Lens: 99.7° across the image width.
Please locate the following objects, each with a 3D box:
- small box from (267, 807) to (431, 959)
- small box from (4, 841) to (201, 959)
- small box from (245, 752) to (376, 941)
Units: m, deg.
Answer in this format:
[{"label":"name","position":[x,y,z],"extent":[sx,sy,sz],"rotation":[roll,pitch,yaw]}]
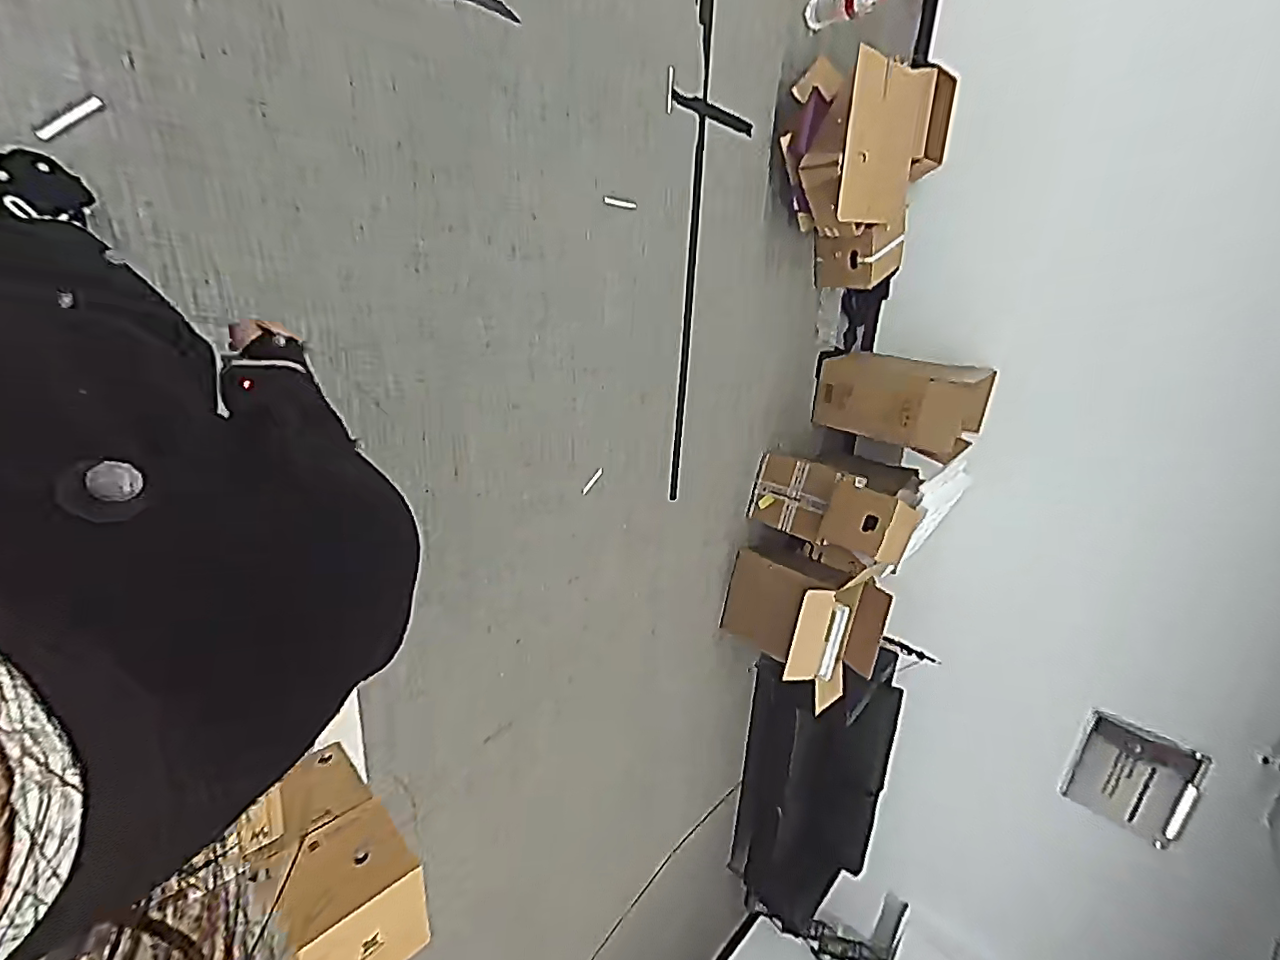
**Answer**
[{"label":"small box","position":[-0.440,0.641,0.821],"extent":[0.168,0.176,0.179],"rotation":[-16,117,-44]},{"label":"small box","position":[-0.732,0.638,0.746],"extent":[0.168,0.176,0.179],"rotation":[-16,115,-46]},{"label":"small box","position":[-0.563,0.601,0.920],"extent":[0.168,0.176,0.179],"rotation":[-13,115,-45]}]
